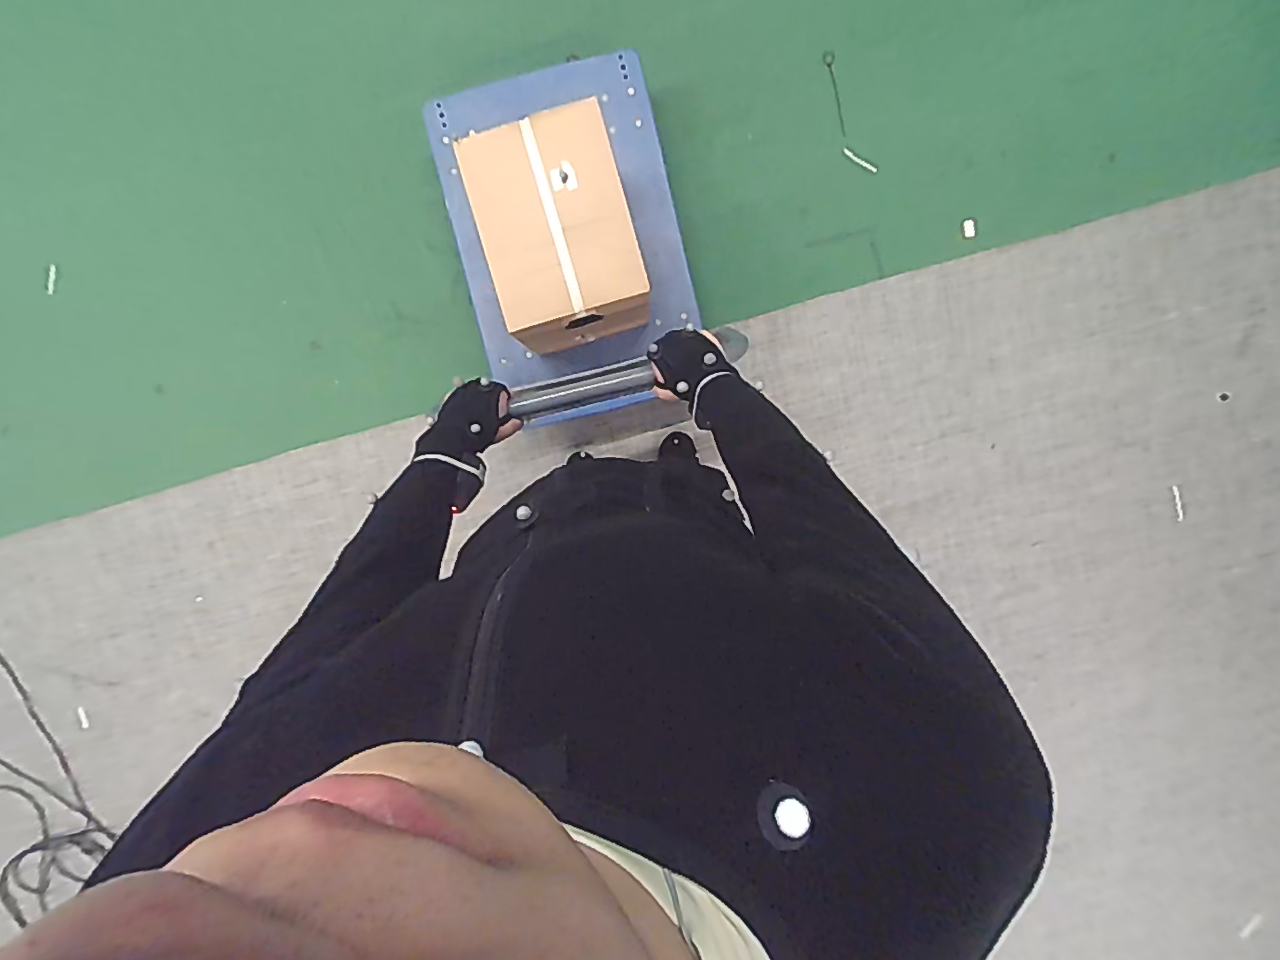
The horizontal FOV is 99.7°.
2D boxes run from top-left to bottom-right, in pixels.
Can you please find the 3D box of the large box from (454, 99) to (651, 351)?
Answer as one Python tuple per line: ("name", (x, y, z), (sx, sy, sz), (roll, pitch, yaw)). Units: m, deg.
("large box", (-0.177, -0.559, 1.269), (0.320, 0.320, 0.408), (-16, 94, 2))
